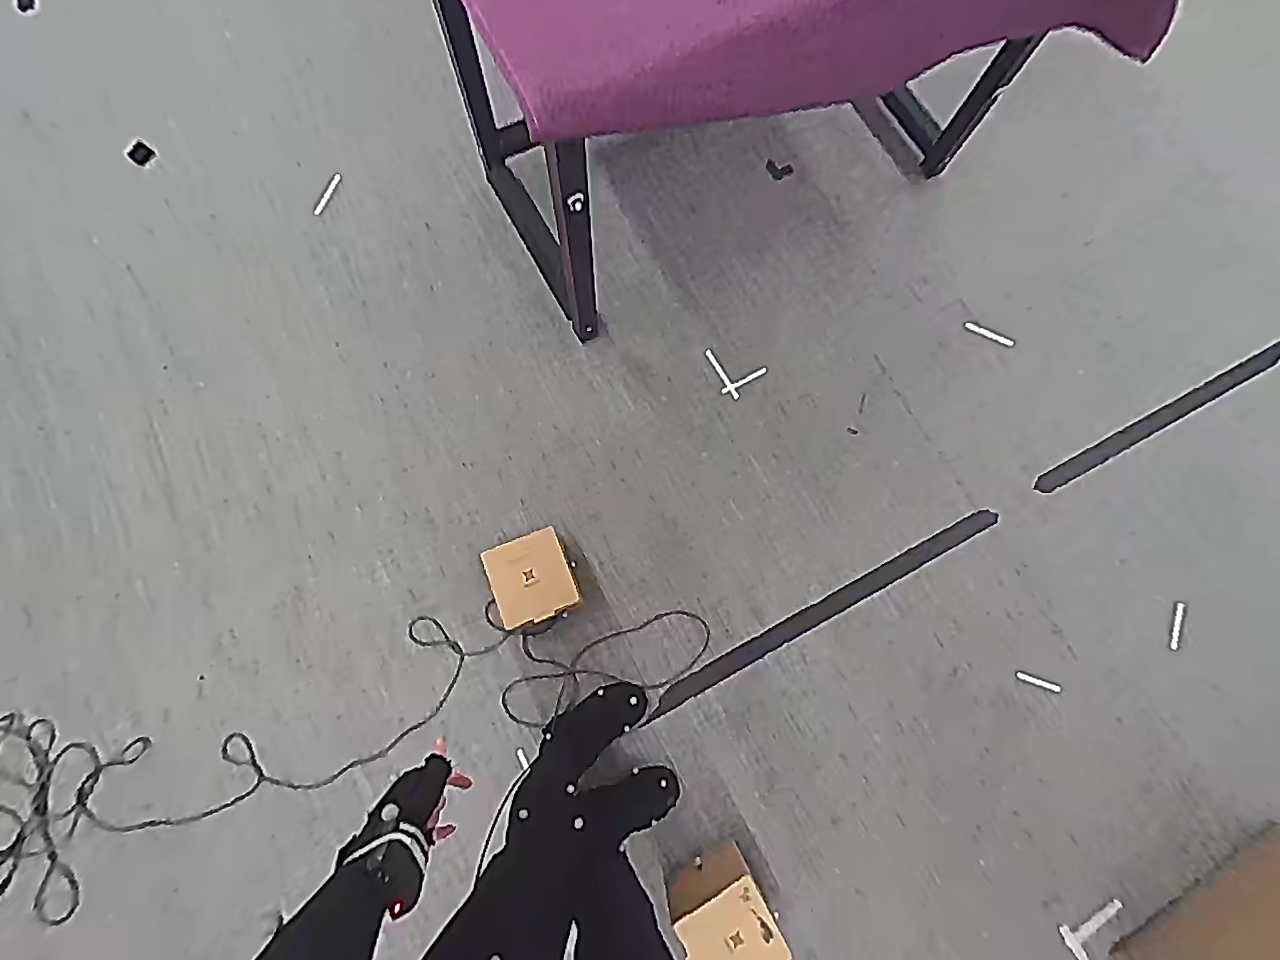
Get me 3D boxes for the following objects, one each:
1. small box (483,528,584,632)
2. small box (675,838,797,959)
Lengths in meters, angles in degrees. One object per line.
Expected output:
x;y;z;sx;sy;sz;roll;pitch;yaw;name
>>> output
-0.231;0.228;1.216;0.168;0.176;0.179;-22;76;-9;small box
0.181;0.878;1.093;0.179;0.176;0.168;-29;81;-7;small box
